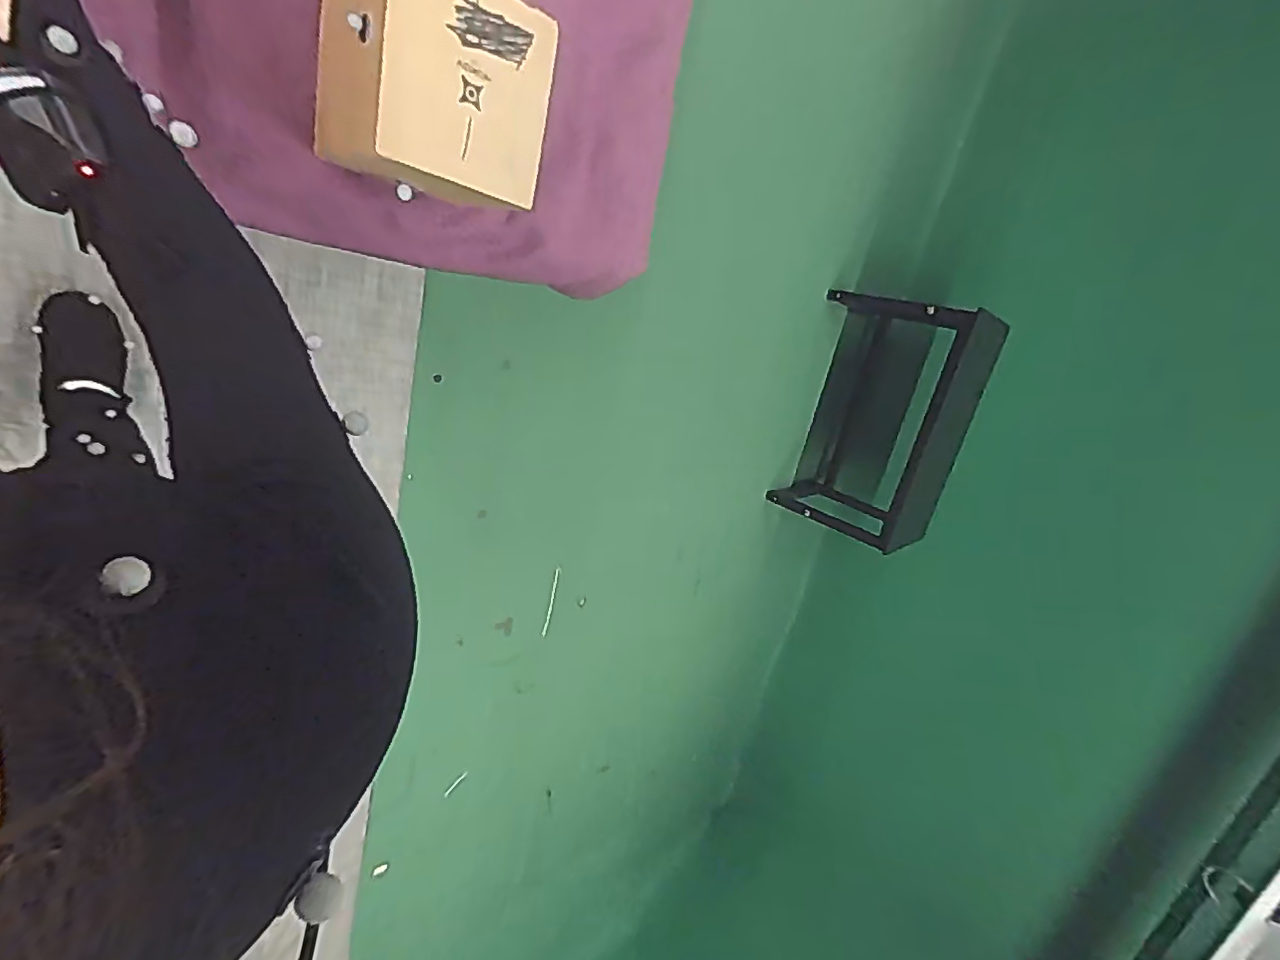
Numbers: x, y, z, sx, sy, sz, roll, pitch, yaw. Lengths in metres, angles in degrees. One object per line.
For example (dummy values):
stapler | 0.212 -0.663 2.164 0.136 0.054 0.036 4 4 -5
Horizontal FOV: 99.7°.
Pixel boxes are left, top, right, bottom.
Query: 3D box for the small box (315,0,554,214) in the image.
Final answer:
small box | -0.215 -0.393 0.555 0.168 0.176 0.179 -5 114 -47
